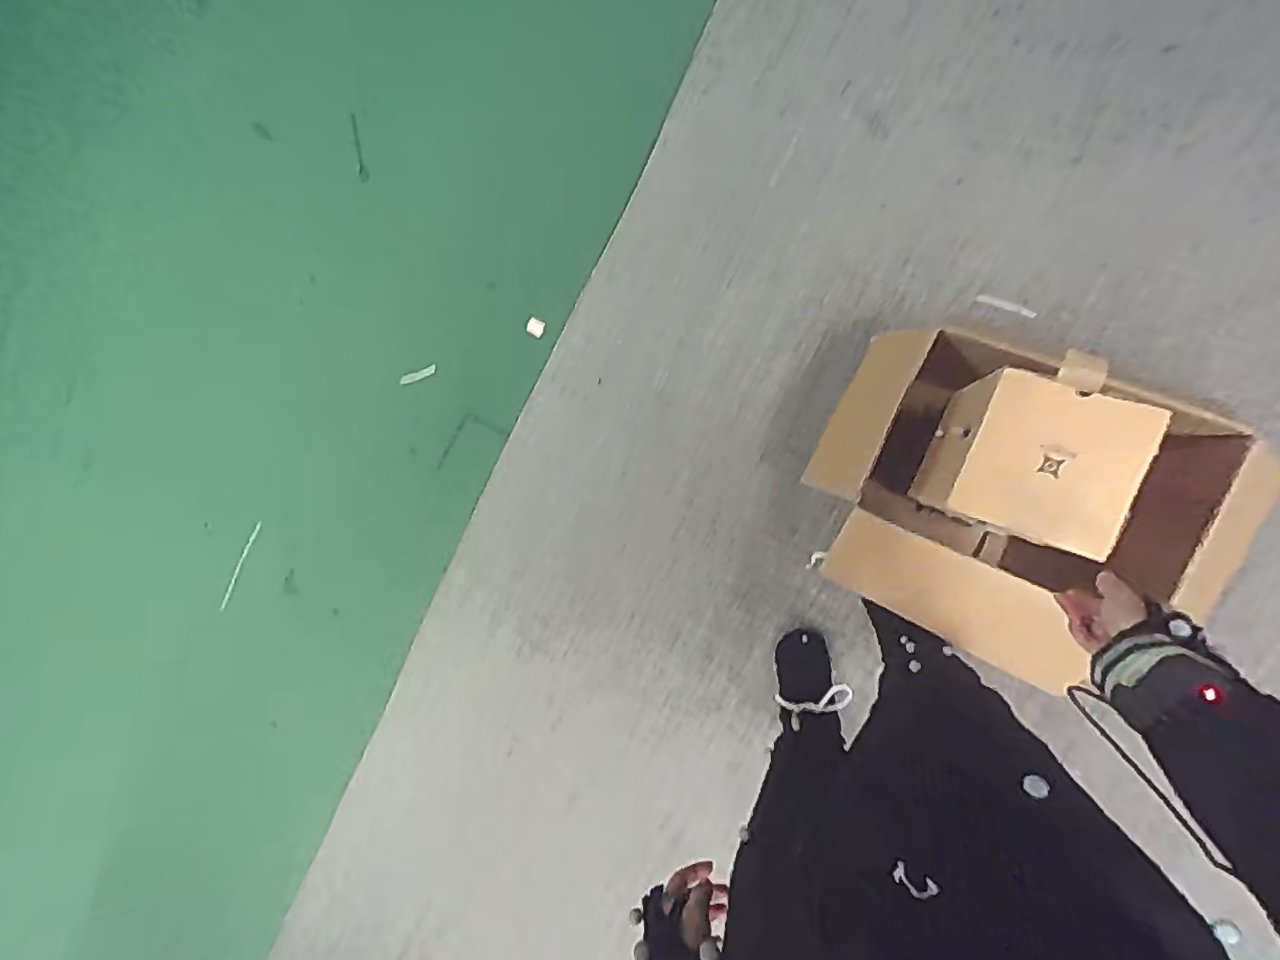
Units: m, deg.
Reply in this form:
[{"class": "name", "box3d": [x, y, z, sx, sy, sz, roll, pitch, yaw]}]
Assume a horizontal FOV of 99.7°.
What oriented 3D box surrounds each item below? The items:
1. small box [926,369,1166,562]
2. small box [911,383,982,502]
[{"class": "small box", "box3d": [0.478, -0.016, 0.674, 0.168, 0.176, 0.179, 21, 94, 17]}, {"class": "small box", "box3d": [0.537, -0.027, 0.824, 0.168, 0.176, 0.179, 24, 97, 16]}]
